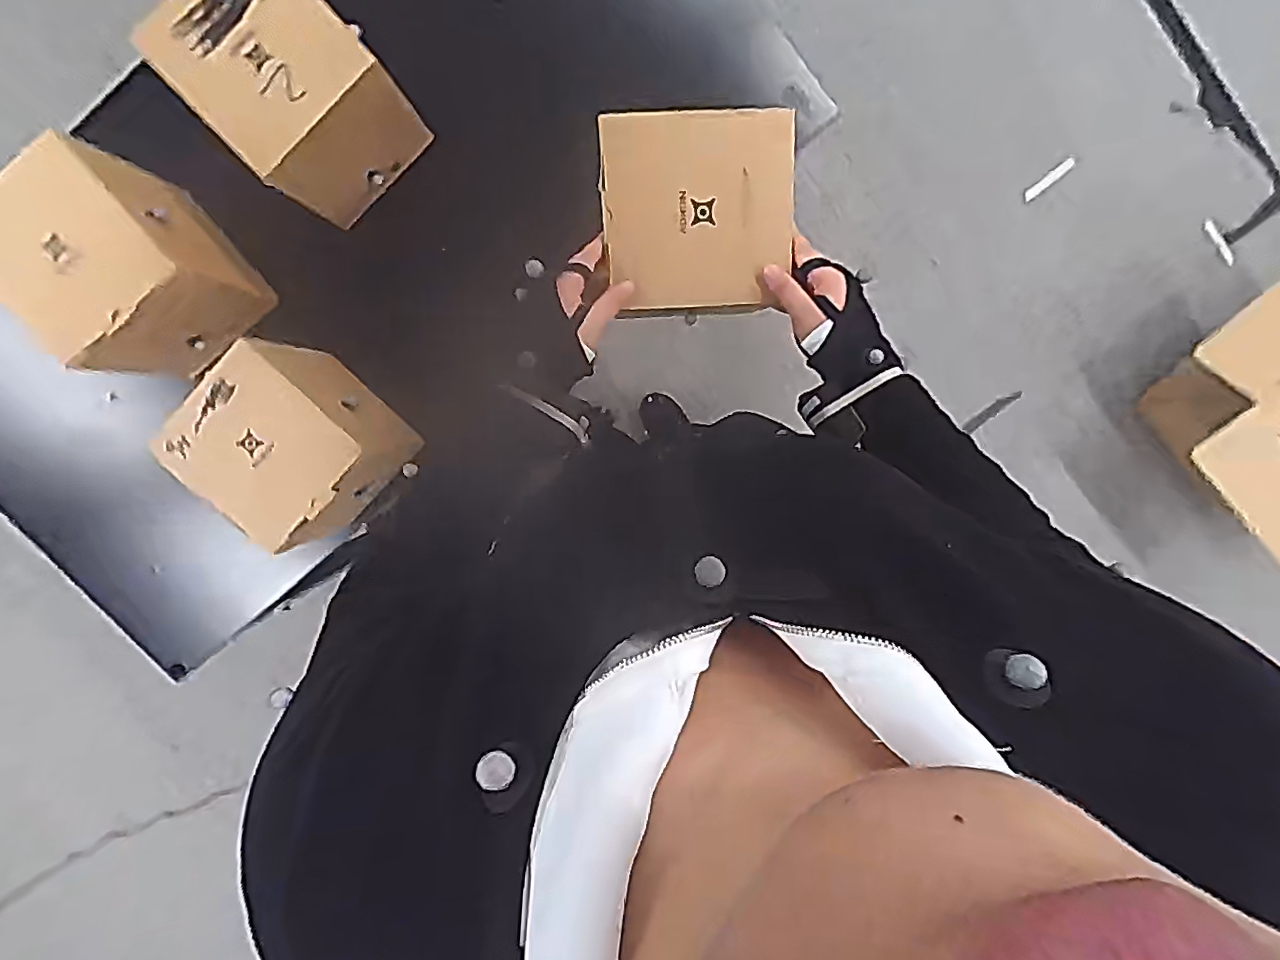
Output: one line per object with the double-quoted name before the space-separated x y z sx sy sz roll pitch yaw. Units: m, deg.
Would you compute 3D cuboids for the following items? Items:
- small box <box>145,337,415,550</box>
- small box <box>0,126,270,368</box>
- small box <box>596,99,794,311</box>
"small box" -0.414 -0.049 0.658 0.179 0.176 0.168 43 95 -6
"small box" -0.595 -0.248 0.629 0.168 0.176 0.179 -39 97 4
"small box" 0.048 -0.270 0.568 0.179 0.176 0.168 -3 105 -3
